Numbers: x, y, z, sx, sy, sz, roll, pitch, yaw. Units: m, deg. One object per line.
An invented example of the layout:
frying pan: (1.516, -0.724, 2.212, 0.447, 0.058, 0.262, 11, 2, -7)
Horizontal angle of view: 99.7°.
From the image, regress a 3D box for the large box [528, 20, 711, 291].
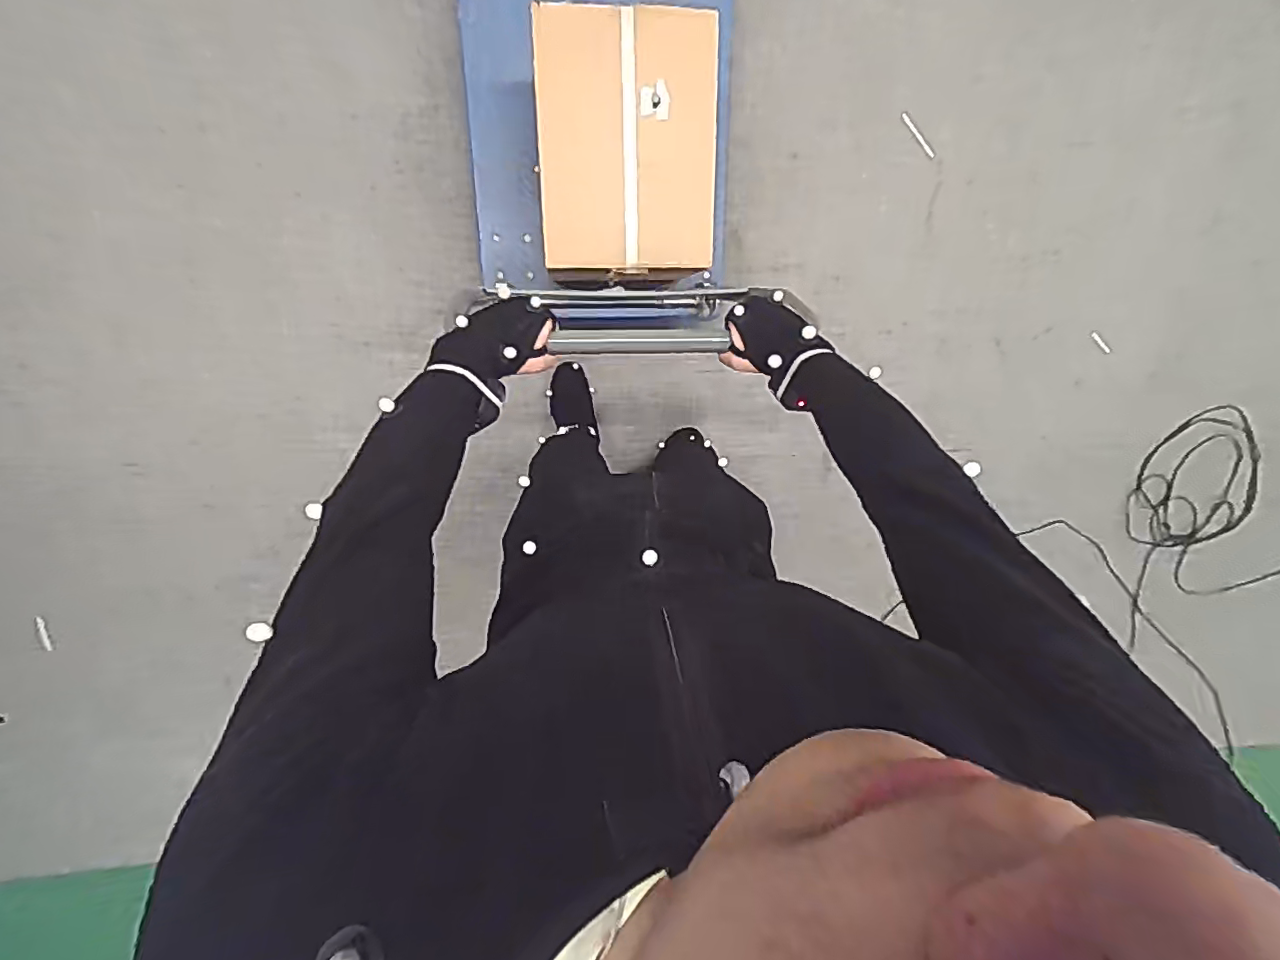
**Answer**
large box: (-0.043, -0.611, 1.098, 0.320, 0.320, 0.408, -3, 105, -7)
